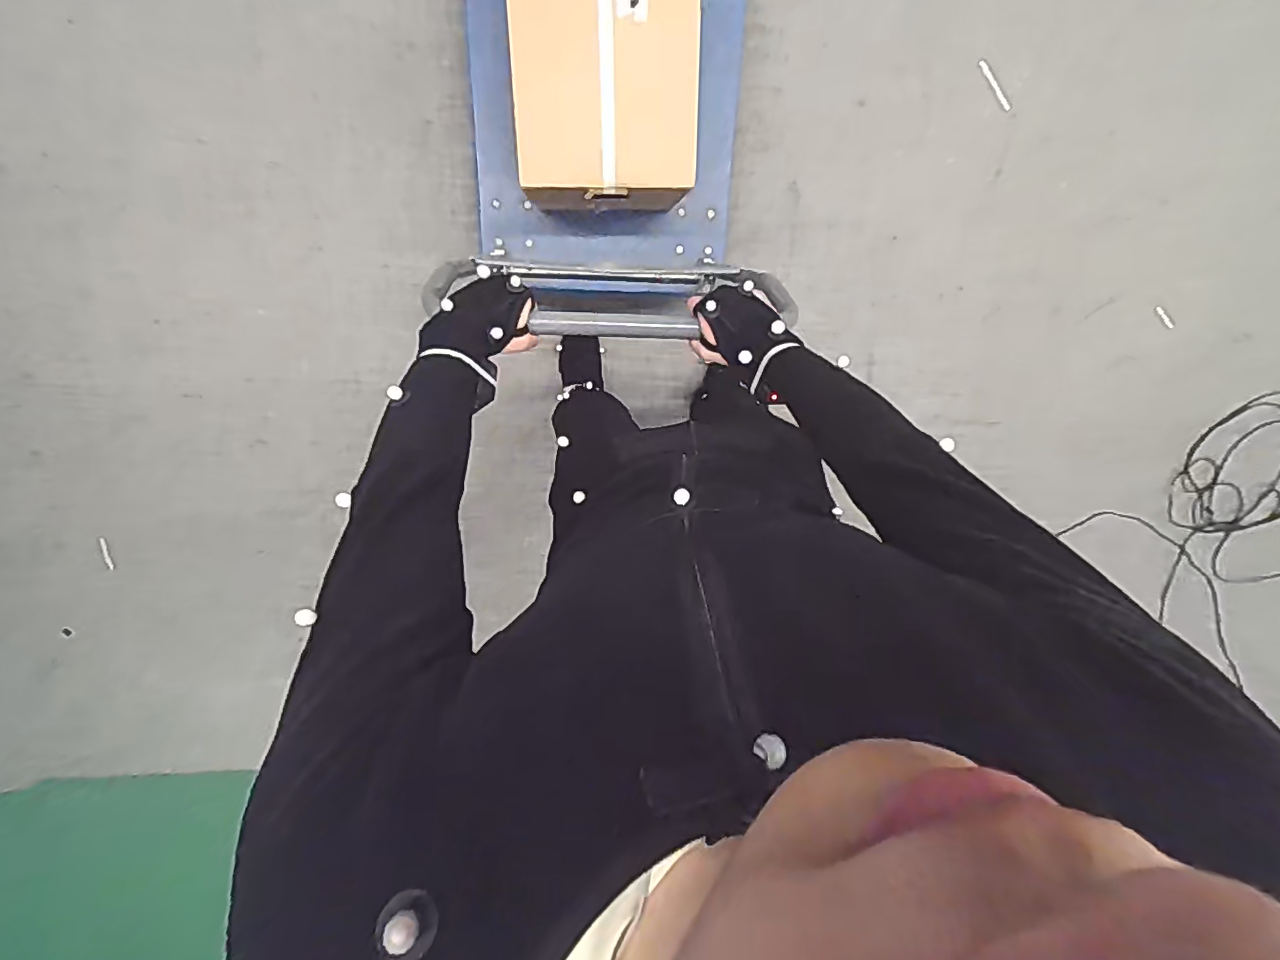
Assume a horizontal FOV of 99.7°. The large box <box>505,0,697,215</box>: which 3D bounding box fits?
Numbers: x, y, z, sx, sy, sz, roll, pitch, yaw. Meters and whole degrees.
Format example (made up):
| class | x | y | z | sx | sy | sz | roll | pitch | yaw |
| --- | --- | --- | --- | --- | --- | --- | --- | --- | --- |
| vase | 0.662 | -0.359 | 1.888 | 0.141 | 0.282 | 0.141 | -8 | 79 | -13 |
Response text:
| class | x | y | z | sx | sy | sz | roll | pitch | yaw |
| --- | --- | --- | --- | --- | --- | --- | --- | --- | --- |
| large box | -0.067 | -0.752 | 1.040 | 0.320 | 0.320 | 0.408 | -2 | 110 | -3 |
